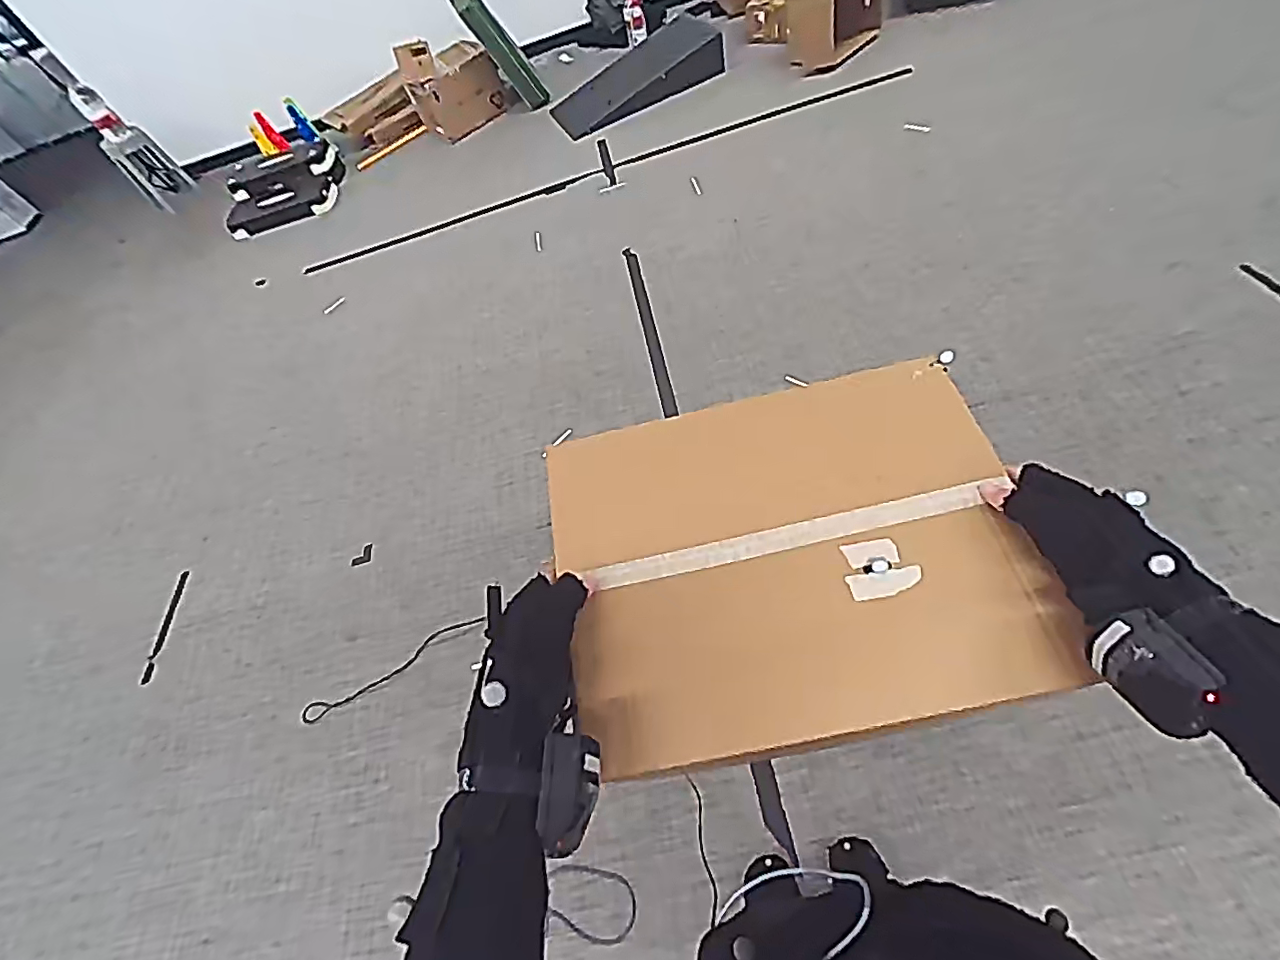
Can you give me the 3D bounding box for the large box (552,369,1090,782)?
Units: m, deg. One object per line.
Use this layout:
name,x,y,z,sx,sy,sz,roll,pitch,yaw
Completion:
large box,0.146,0.131,0.618,0.408,0.320,0.320,-13,60,2
